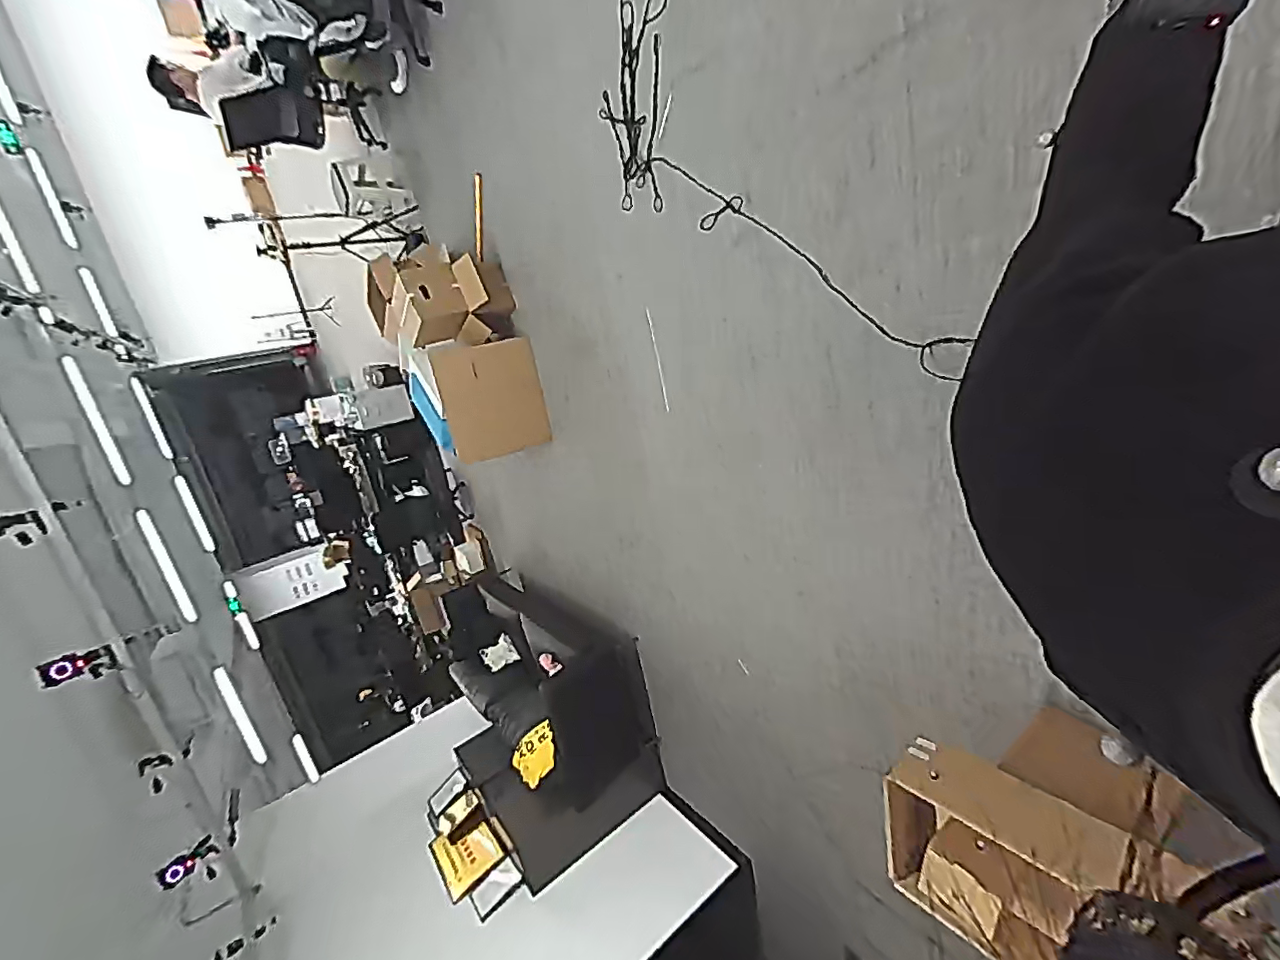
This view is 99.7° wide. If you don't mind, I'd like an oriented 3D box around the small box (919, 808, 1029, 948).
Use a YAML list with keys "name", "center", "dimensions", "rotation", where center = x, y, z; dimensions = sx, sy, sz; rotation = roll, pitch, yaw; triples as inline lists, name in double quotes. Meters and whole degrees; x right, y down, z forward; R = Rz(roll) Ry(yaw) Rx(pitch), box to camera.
- name: "small box"
  center: [0.804, 0.945, 1.301]
  dimensions: [0.168, 0.176, 0.179]
  rotation: [24, 127, 47]
